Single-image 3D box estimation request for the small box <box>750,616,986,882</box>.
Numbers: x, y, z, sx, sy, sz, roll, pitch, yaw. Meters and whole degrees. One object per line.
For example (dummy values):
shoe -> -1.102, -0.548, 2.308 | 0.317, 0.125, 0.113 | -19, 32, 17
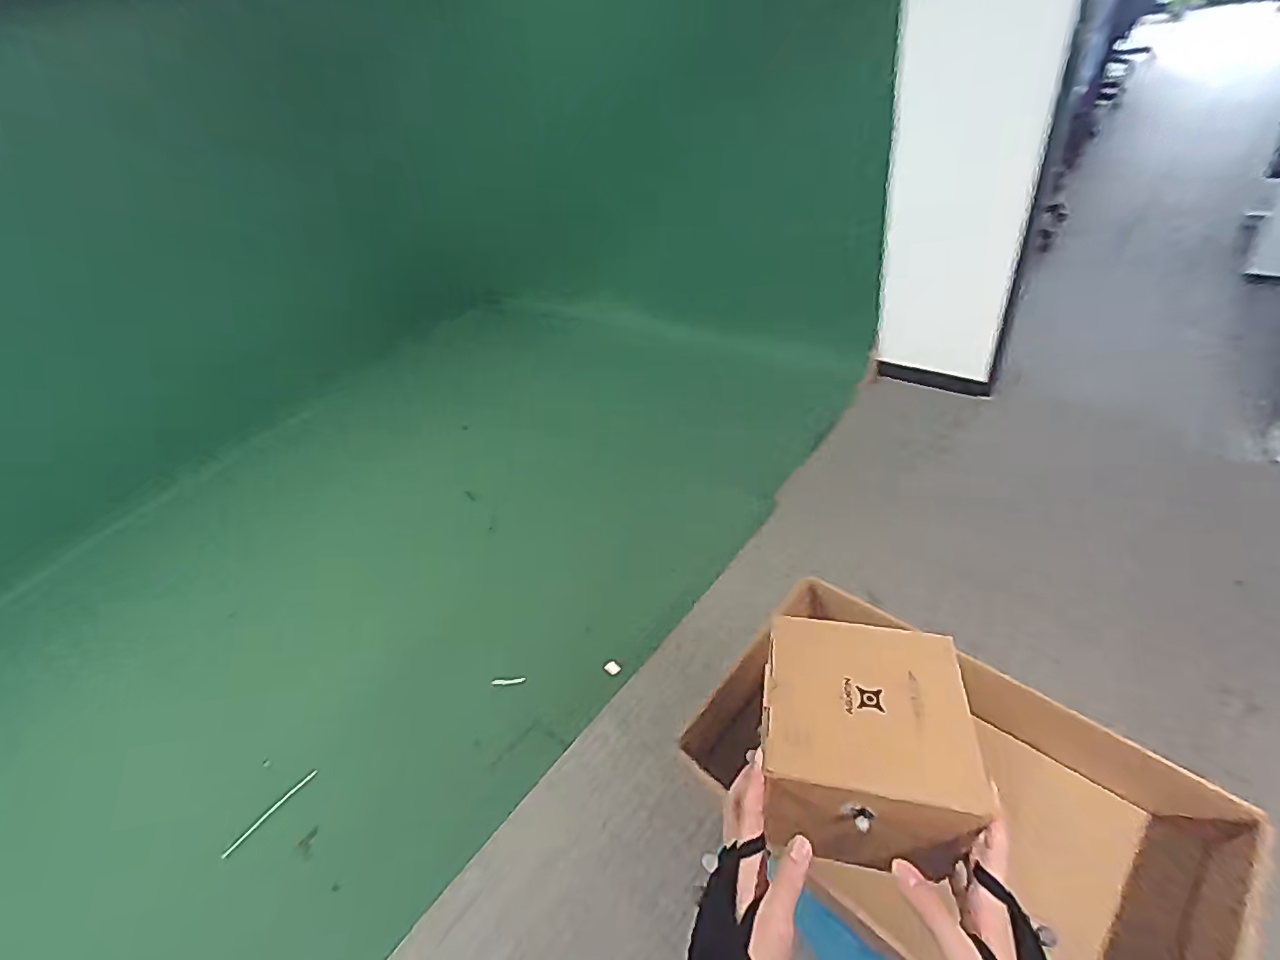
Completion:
small box -> 0.202, 0.260, 0.531 | 0.179, 0.176, 0.168 | 4, 39, 14
